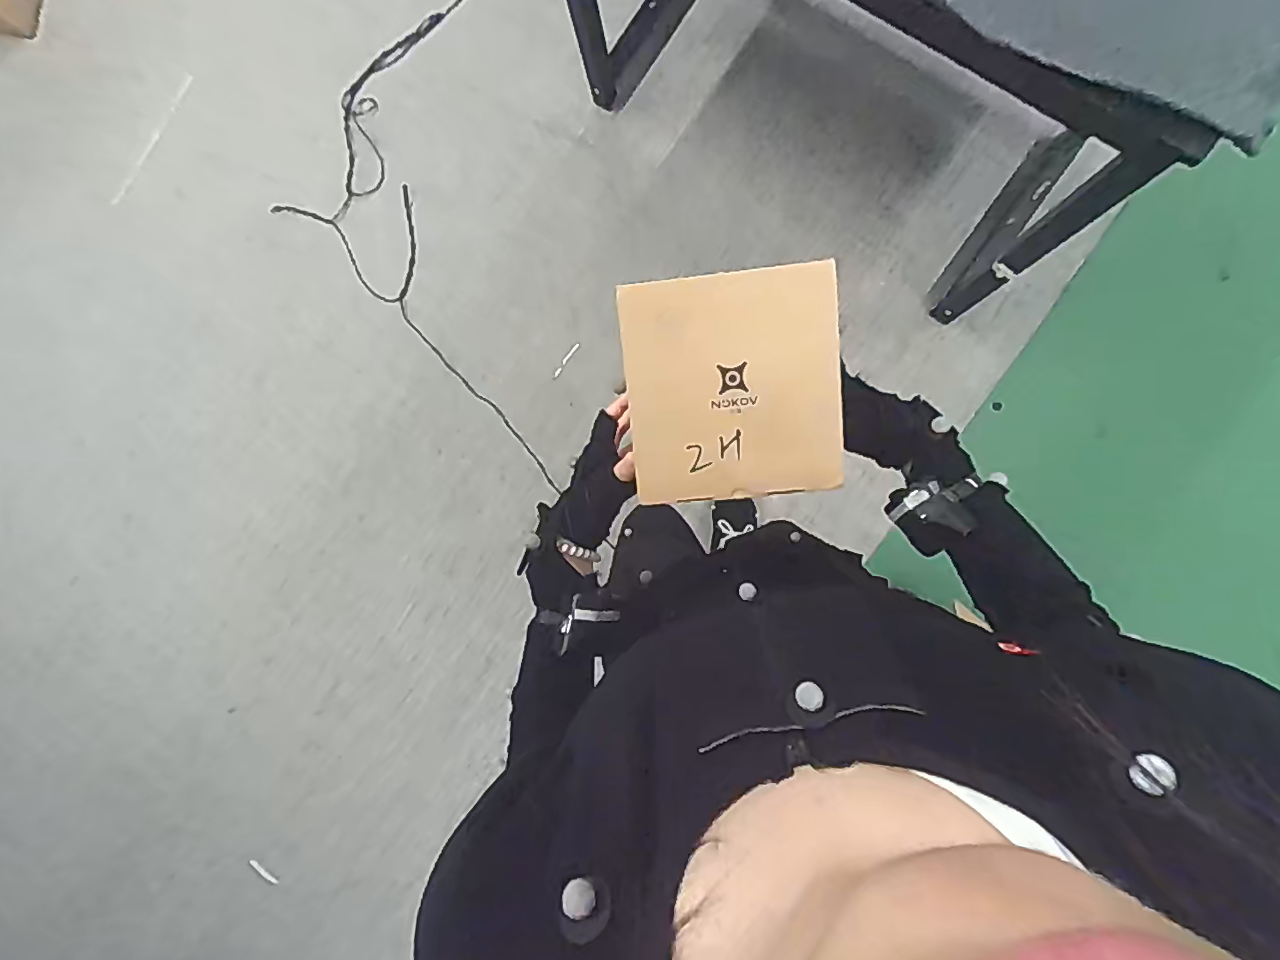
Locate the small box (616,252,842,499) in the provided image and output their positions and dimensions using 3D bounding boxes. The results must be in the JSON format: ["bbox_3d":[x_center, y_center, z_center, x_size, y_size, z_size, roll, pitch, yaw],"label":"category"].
[{"bbox_3d":[0.075,-0.088,0.494,0.168,0.176,0.179,-5,99,6],"label":"small box"}]
